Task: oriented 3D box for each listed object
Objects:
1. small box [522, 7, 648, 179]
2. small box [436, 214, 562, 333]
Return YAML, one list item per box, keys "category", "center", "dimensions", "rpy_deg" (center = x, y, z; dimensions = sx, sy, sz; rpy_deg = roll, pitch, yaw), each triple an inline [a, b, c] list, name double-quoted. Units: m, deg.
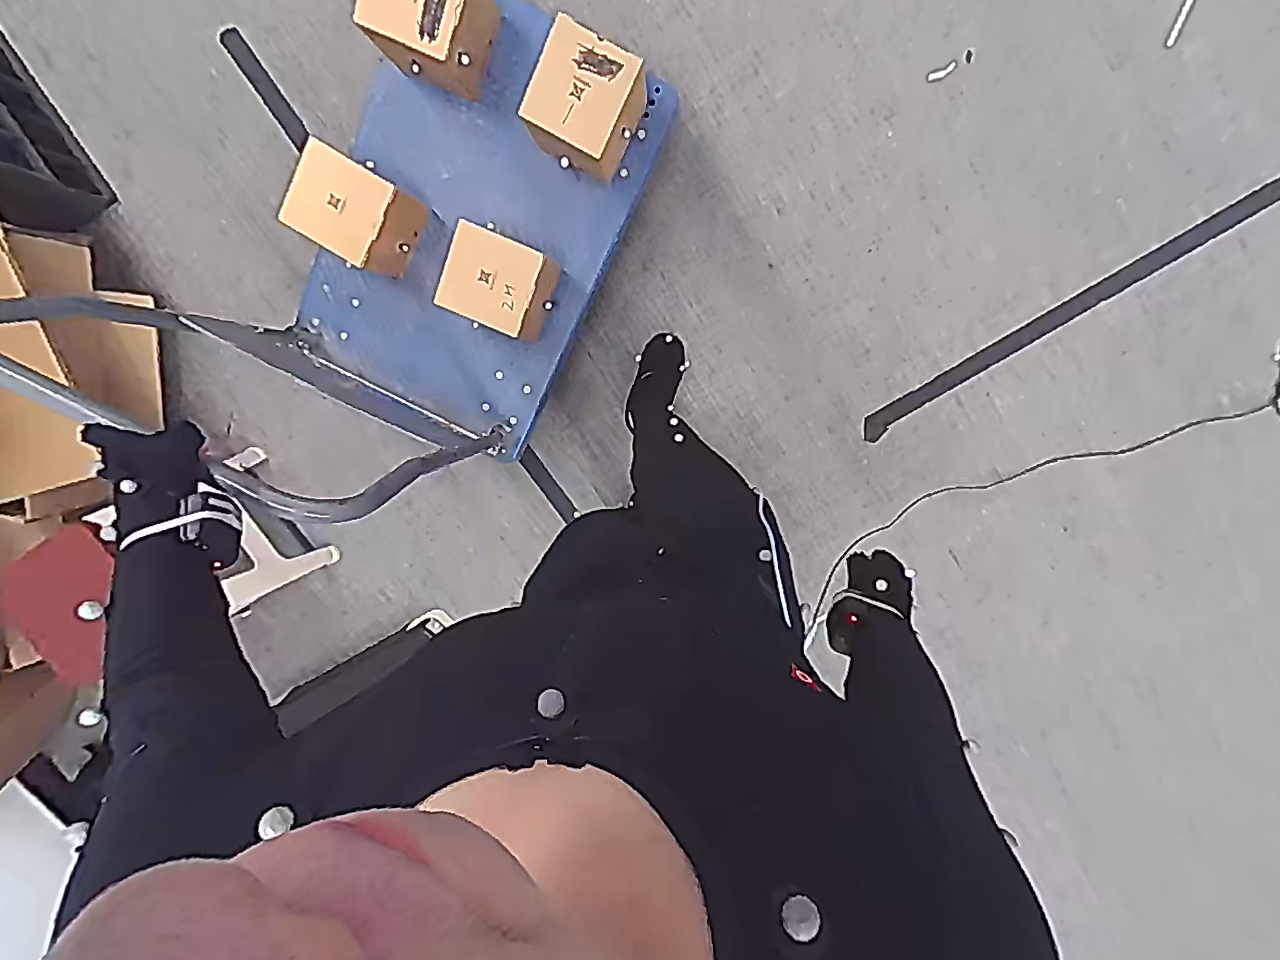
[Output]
- category: "small box"
  center: [-0.096, -0.707, 1.013]
  dimensions: [0.168, 0.176, 0.179]
  rpy_deg: [28, 104, -4]
- category: "small box"
  center: [-0.277, -0.404, 1.094]
  dimensions: [0.179, 0.176, 0.168]
  rpy_deg: [23, 104, -3]
